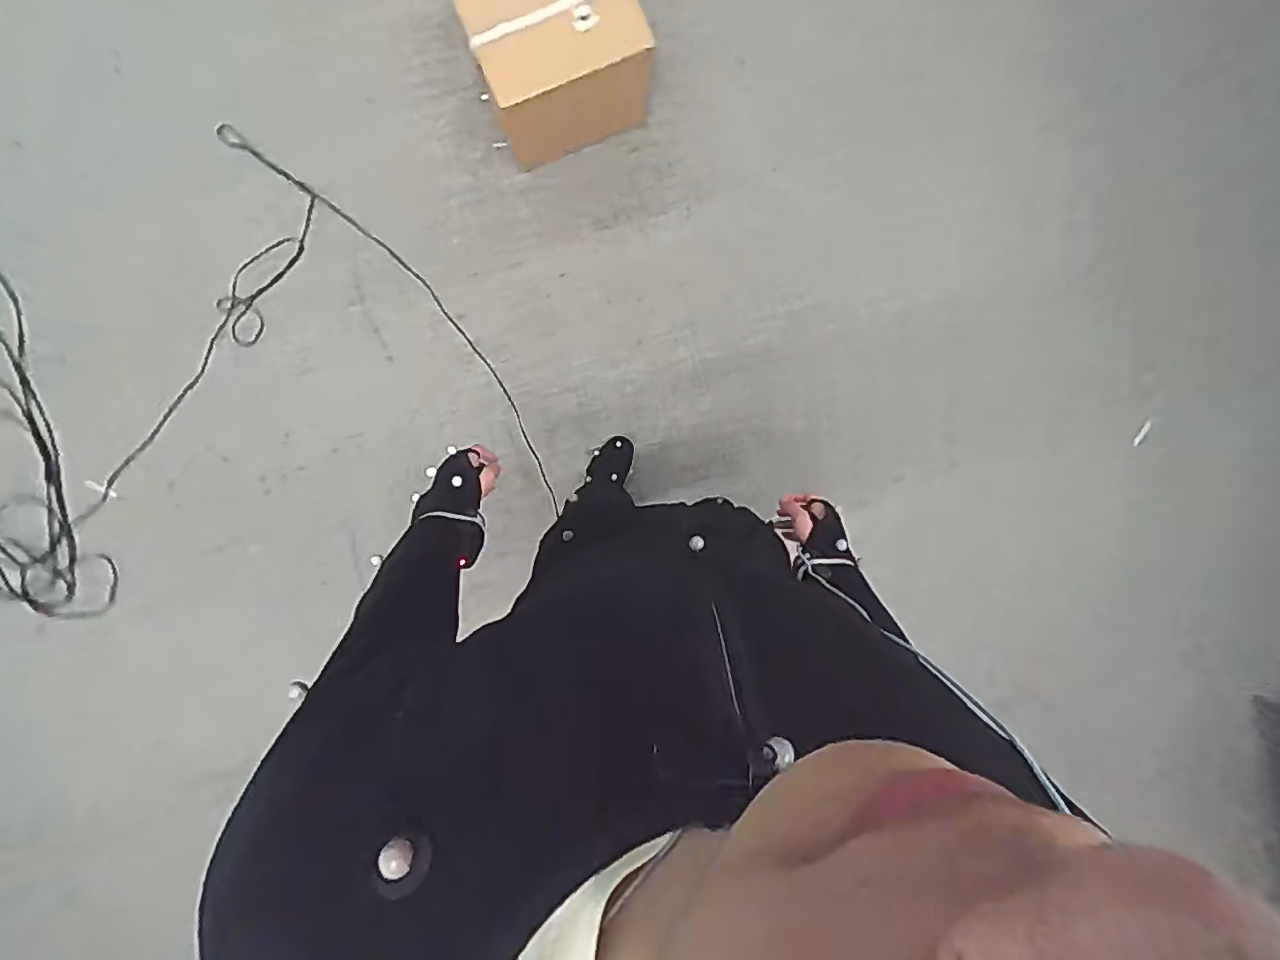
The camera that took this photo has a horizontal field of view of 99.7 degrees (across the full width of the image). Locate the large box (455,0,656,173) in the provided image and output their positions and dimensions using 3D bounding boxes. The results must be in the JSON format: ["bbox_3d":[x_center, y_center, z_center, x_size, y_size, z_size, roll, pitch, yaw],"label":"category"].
[{"bbox_3d":[-0.208,-1.098,1.422,0.408,0.320,0.320,-24,94,-2],"label":"large box"}]
